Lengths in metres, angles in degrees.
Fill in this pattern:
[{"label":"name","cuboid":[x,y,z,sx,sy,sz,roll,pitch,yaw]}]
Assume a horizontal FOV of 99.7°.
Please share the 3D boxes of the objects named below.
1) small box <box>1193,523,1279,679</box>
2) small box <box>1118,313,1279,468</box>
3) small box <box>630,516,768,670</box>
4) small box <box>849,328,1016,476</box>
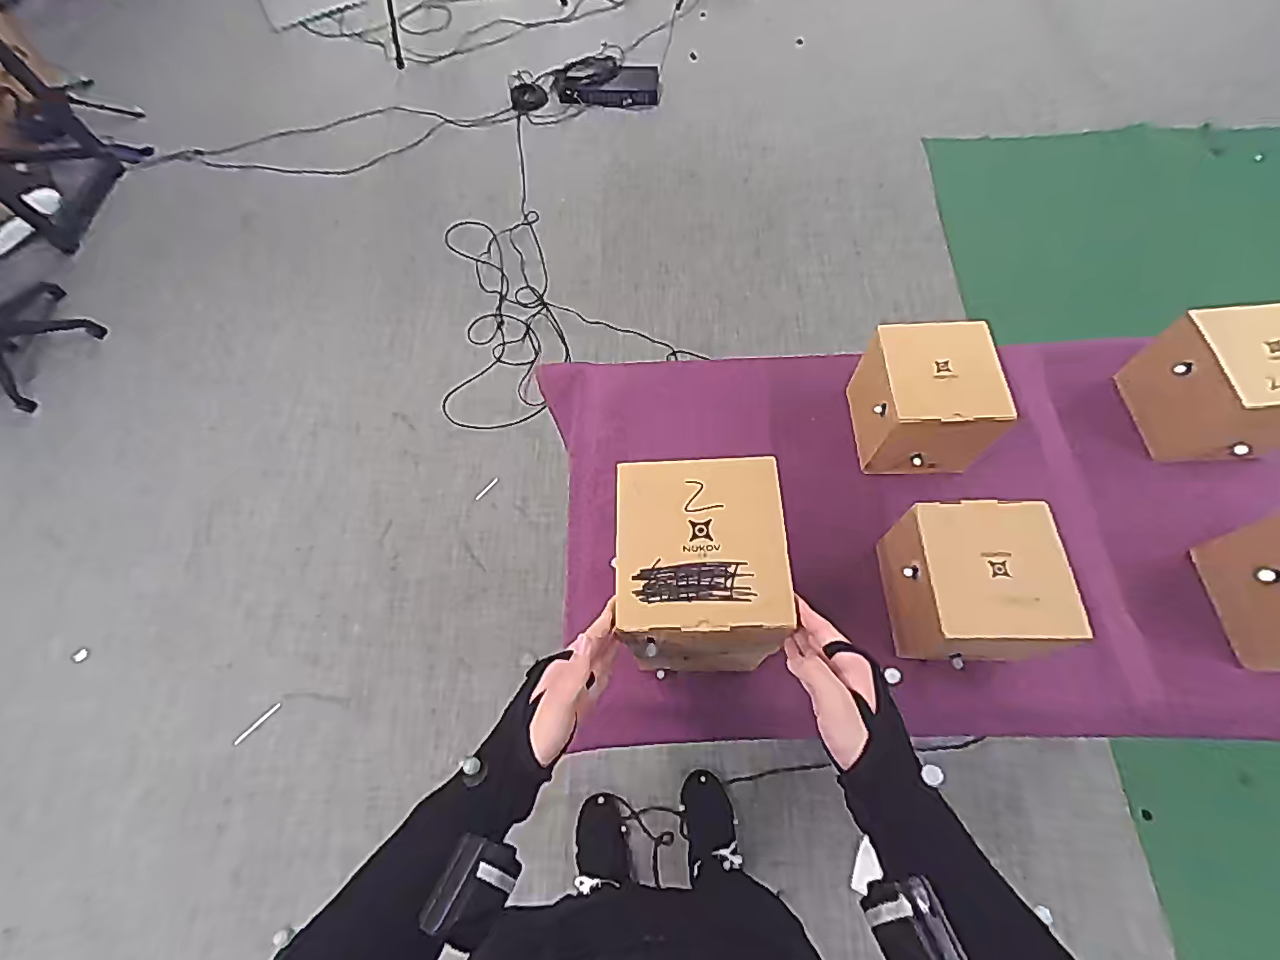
[{"label":"small box","cuboid":[0.892,0.154,0.697,0.168,0.176,0.179,0,62,5]},{"label":"small box","cuboid":[0.904,-0.134,0.837,0.168,0.176,0.179,-3,64,6]},{"label":"small box","cuboid":[0.077,0.161,0.745,0.168,0.176,0.179,0,63,3]},{"label":"small box","cuboid":[0.449,-0.121,0.865,0.168,0.176,0.179,0,65,3]}]
